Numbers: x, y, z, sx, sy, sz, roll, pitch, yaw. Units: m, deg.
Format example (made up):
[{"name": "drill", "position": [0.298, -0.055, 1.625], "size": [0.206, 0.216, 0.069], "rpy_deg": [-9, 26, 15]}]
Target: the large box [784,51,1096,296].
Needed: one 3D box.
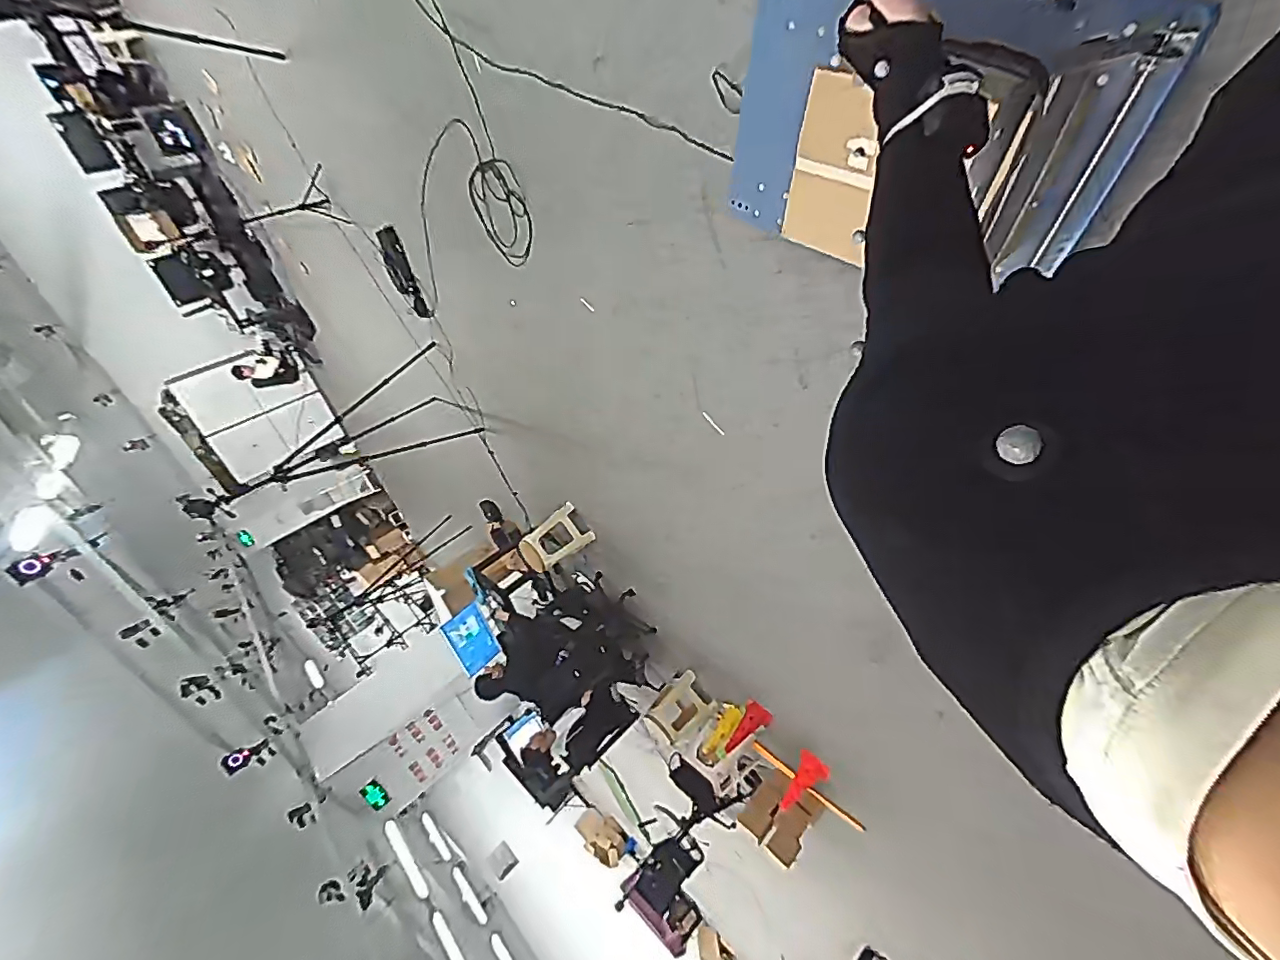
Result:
[{"name": "large box", "position": [0.573, -0.632, 1.092], "size": [0.408, 0.320, 0.320], "rpy_deg": [37, 146, 28]}]
